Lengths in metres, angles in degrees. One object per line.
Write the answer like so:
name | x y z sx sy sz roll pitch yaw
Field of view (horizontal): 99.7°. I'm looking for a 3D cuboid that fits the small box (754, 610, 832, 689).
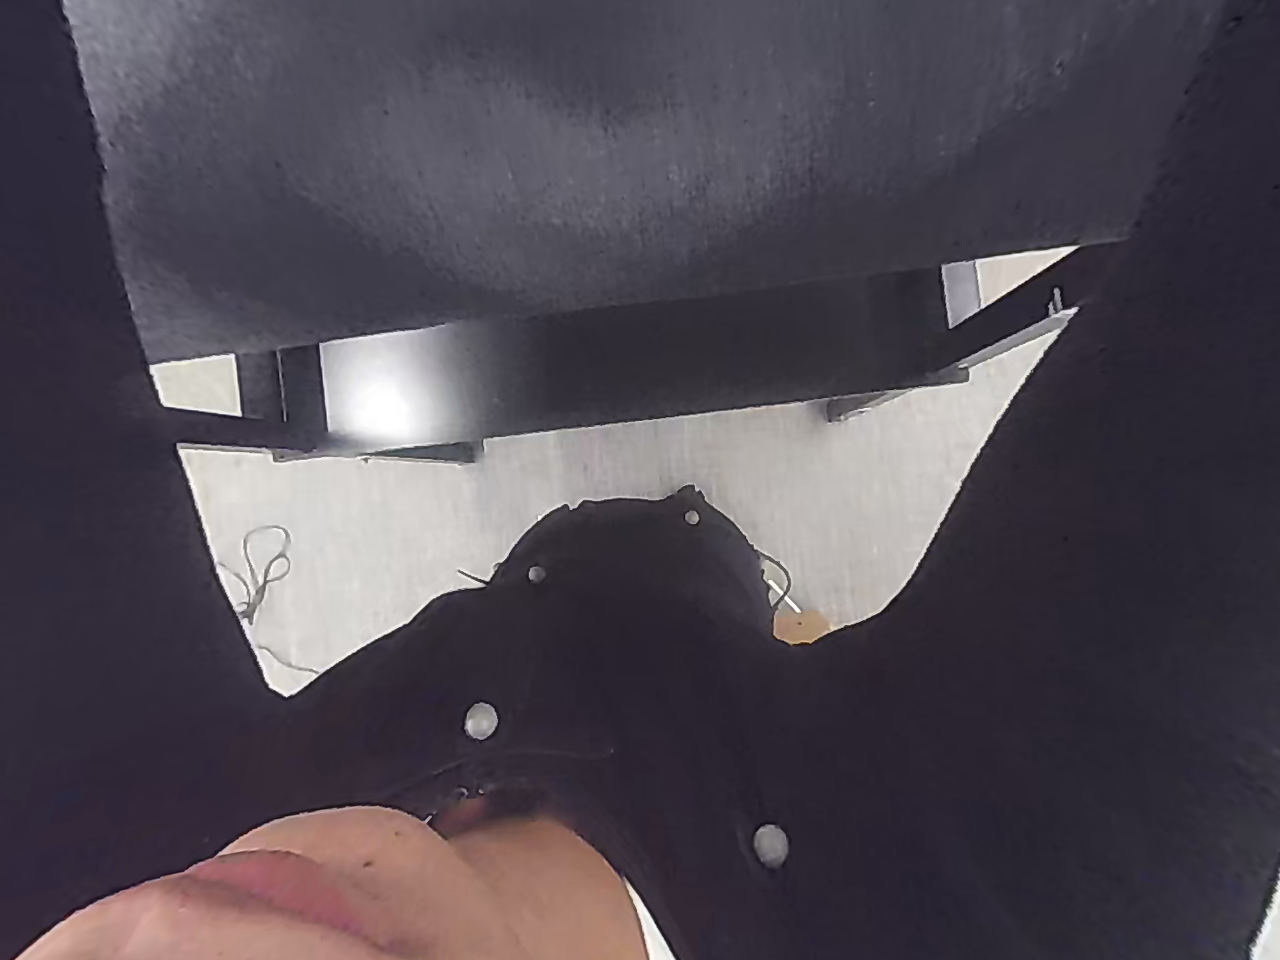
small box | 0.422 0.469 1.513 0.179 0.176 0.168 -7 89 7
